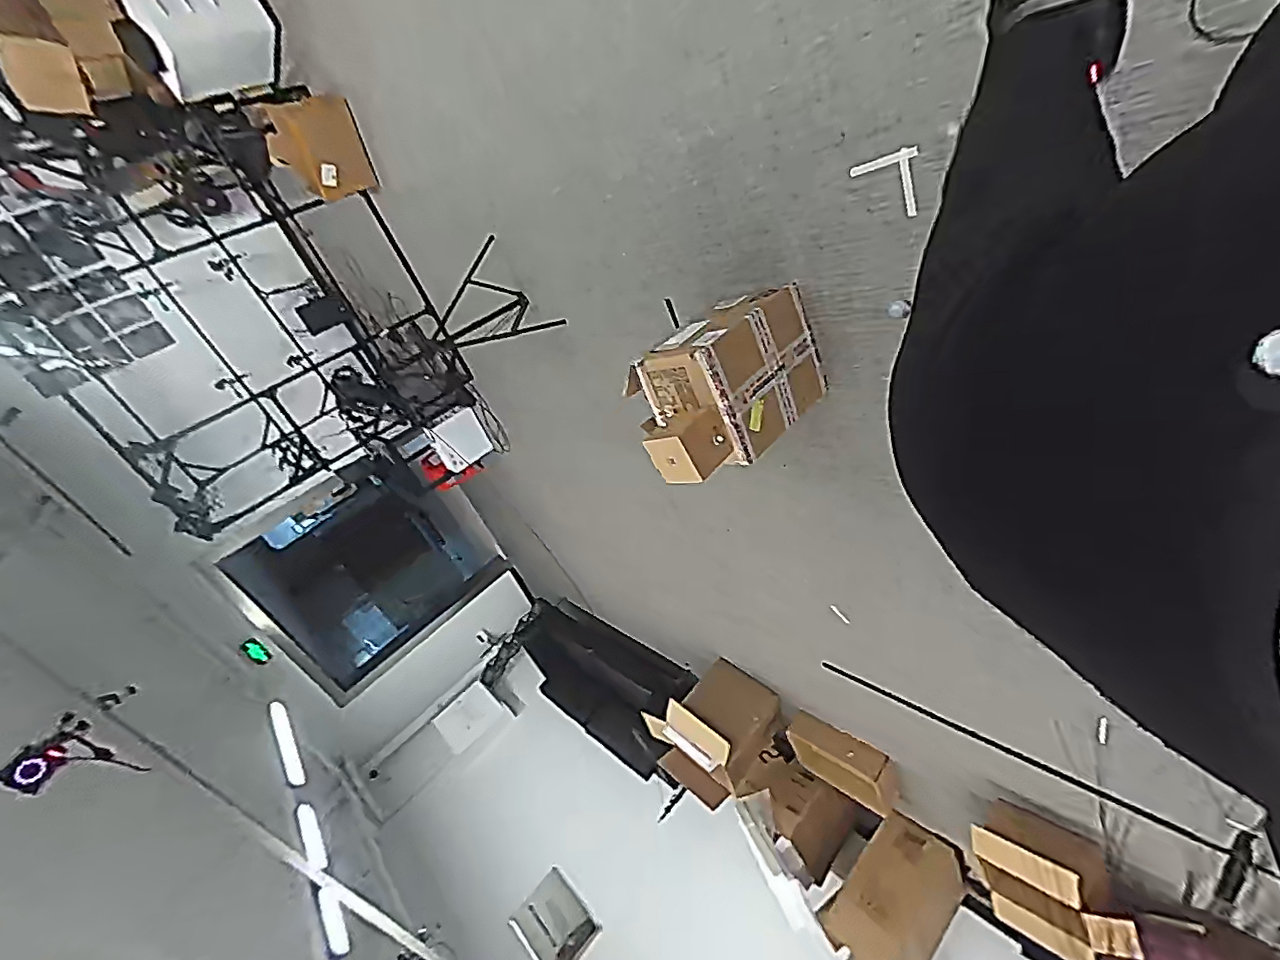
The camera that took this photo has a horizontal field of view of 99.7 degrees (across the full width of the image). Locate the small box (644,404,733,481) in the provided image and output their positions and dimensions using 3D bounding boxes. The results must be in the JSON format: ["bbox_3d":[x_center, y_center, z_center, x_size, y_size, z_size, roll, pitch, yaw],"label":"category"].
[{"bbox_3d":[0.153,-0.112,1.660,0.179,0.176,0.168,-5,123,53],"label":"small box"}]
